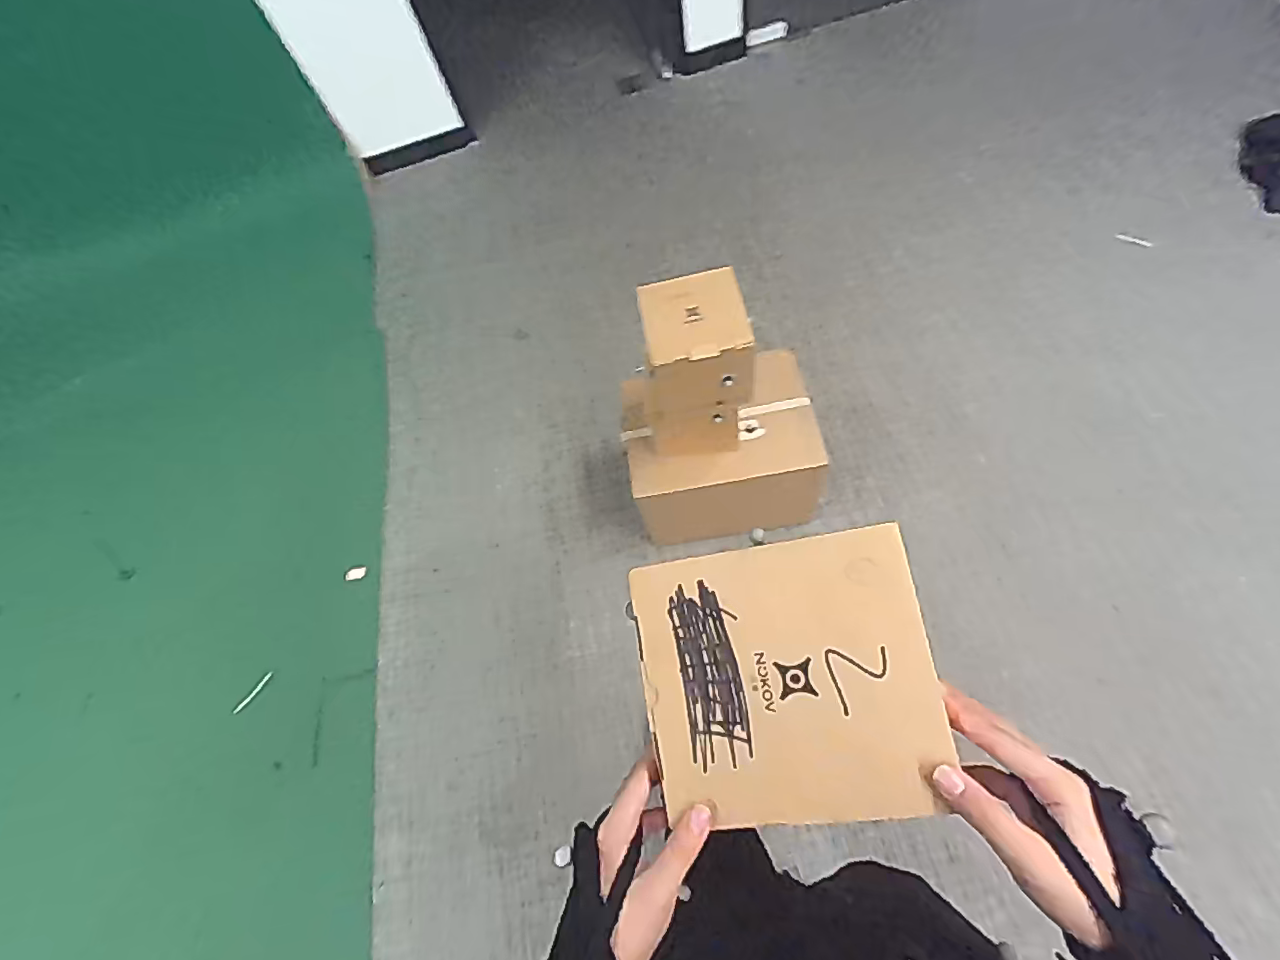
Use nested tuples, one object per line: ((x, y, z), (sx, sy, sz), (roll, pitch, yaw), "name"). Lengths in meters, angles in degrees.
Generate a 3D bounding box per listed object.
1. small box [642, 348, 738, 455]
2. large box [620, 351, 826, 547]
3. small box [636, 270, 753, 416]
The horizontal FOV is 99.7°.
((0.103, -0.161, 1.096), (0.179, 0.176, 0.168), (-5, 62, 7), "small box")
((0.185, -0.060, 1.305), (0.408, 0.320, 0.320), (-10, 63, 4), "large box")
((0.096, -0.228, 0.947), (0.168, 0.176, 0.179), (-12, 61, 2), "small box")
